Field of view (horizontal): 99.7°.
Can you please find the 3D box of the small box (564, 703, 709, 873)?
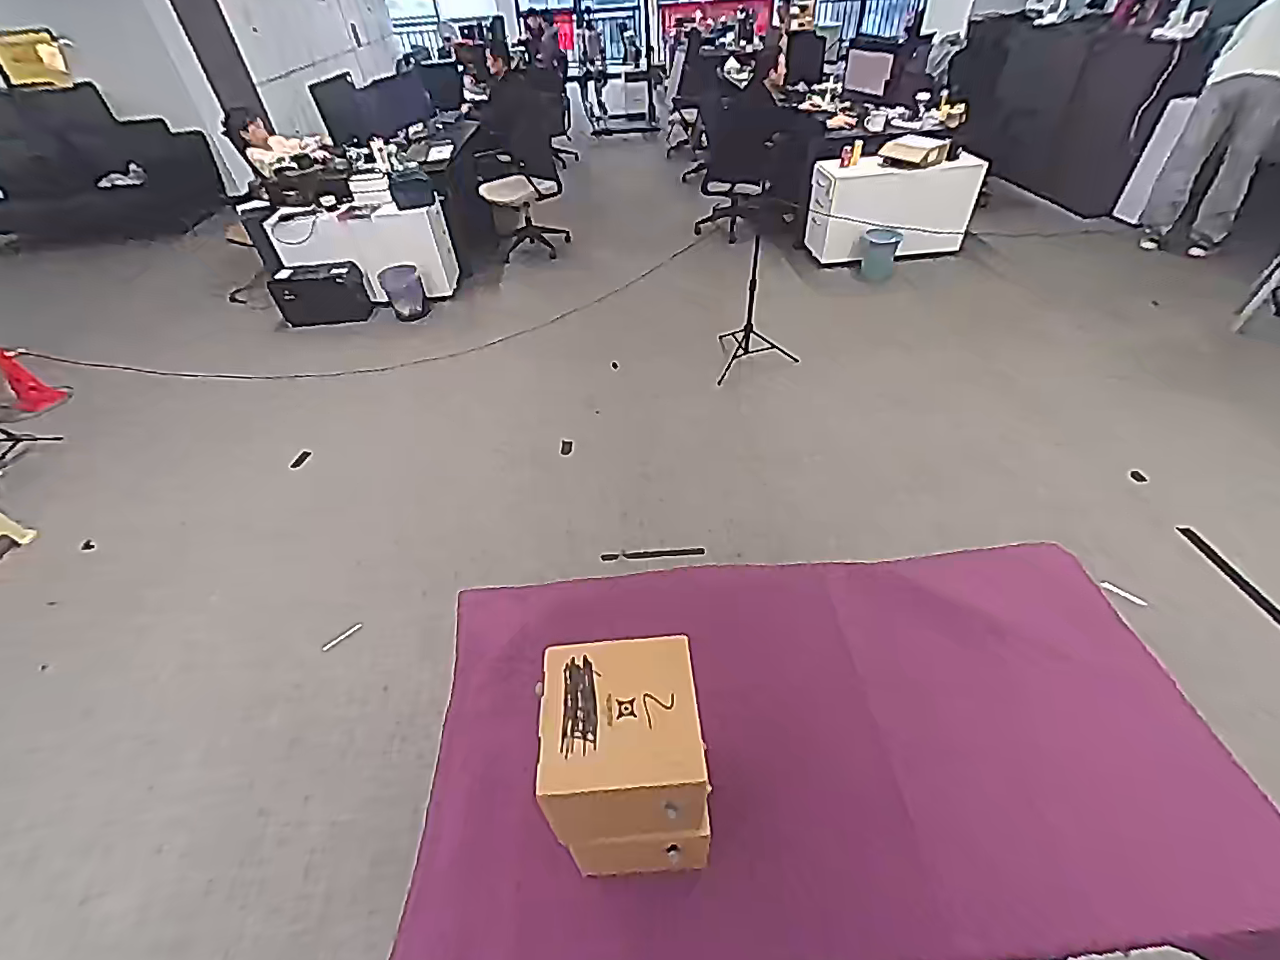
[{"bbox_3d":[-0.004,0.431,0.756,0.179,0.176,0.168,-4,43,0],"label":"small box"}]
